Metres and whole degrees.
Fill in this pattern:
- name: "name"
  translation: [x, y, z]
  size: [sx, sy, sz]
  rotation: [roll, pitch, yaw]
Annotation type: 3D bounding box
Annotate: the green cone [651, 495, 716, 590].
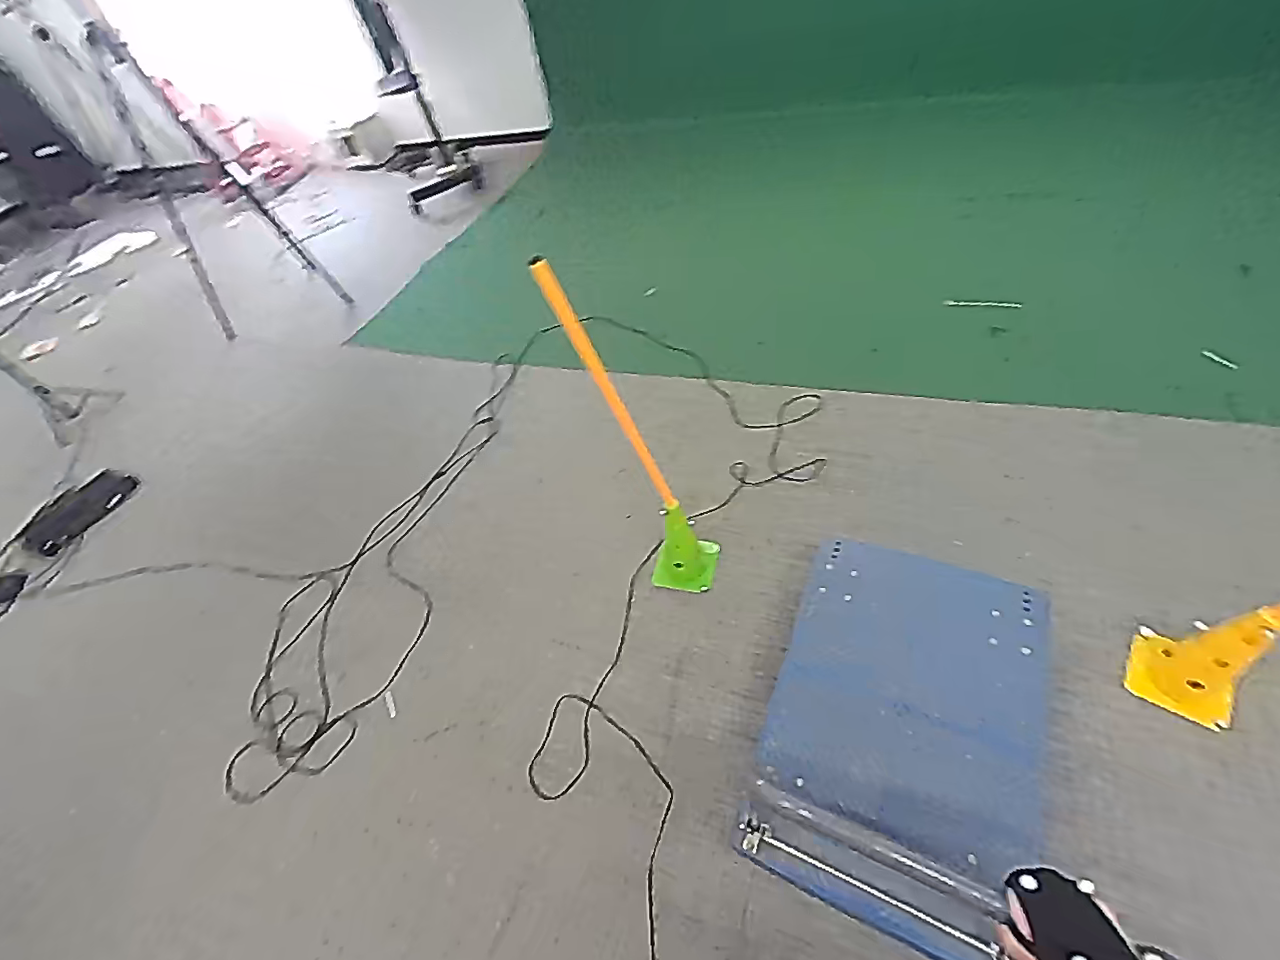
- name: "green cone"
  translation: [0.114, 0.171, 1.724]
  size: [0.202, 0.368, 0.200]
  rotation: [5, 52, 19]
